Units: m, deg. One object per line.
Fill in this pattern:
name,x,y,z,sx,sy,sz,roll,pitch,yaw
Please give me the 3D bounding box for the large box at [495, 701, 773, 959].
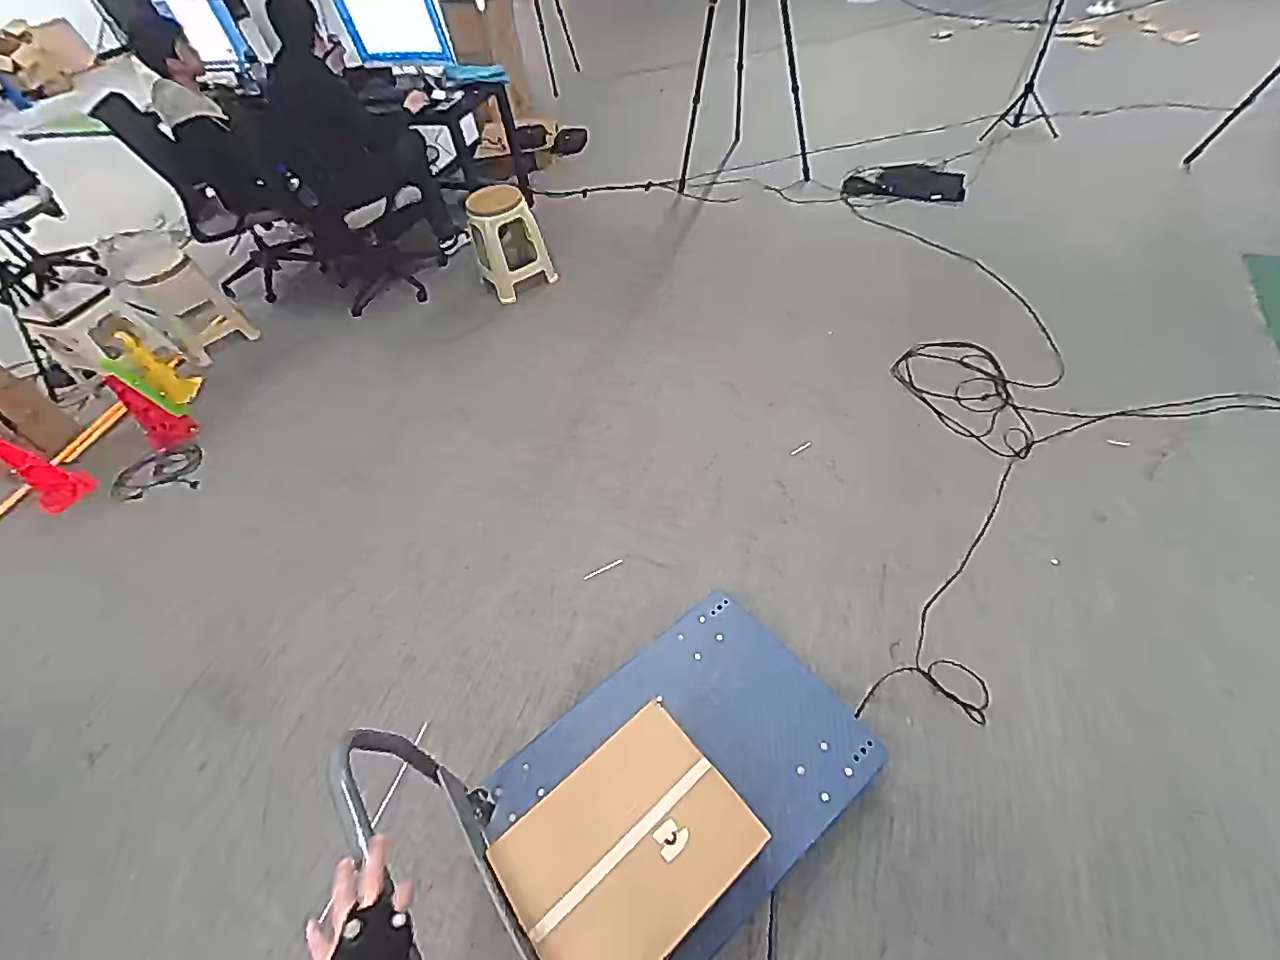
large box,0.000,0.732,1.055,0.408,0.320,0.320,-35,55,-21
